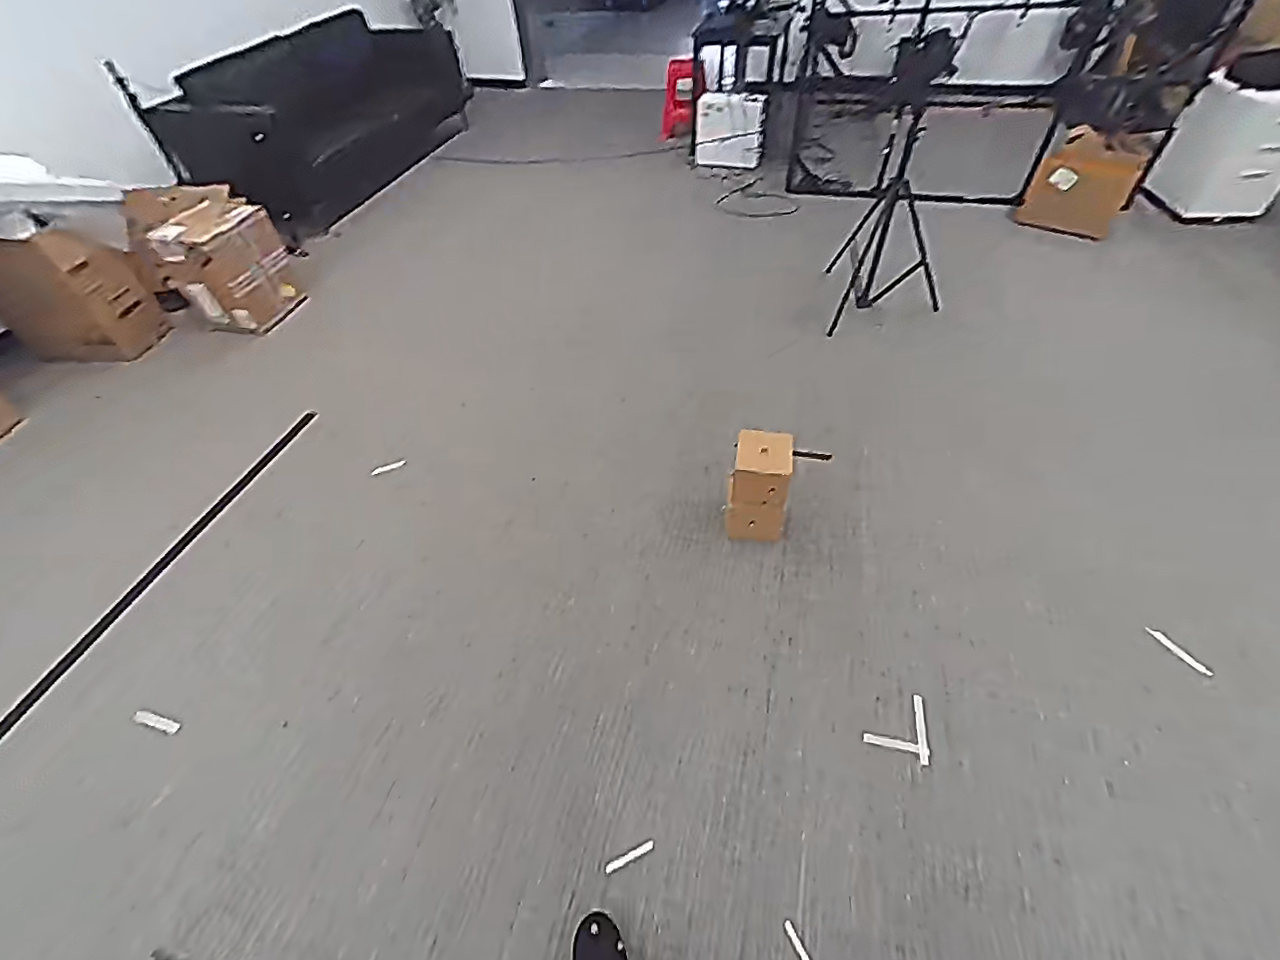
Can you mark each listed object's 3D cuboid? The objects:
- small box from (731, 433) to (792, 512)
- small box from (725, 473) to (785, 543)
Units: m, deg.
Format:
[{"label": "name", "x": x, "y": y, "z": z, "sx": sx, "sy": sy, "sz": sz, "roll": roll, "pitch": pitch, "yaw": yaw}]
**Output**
[{"label": "small box", "x": 0.377, "y": -0.021, "z": 1.686, "sx": 0.168, "sy": 0.176, "sz": 0.179, "roll": 7, "pitch": 48, "yaw": 8}, {"label": "small box", "x": 0.378, "y": 0.096, "z": 1.799, "sx": 0.179, "sy": 0.176, "sz": 0.168, "roll": 3, "pitch": 48, "yaw": 7}]
